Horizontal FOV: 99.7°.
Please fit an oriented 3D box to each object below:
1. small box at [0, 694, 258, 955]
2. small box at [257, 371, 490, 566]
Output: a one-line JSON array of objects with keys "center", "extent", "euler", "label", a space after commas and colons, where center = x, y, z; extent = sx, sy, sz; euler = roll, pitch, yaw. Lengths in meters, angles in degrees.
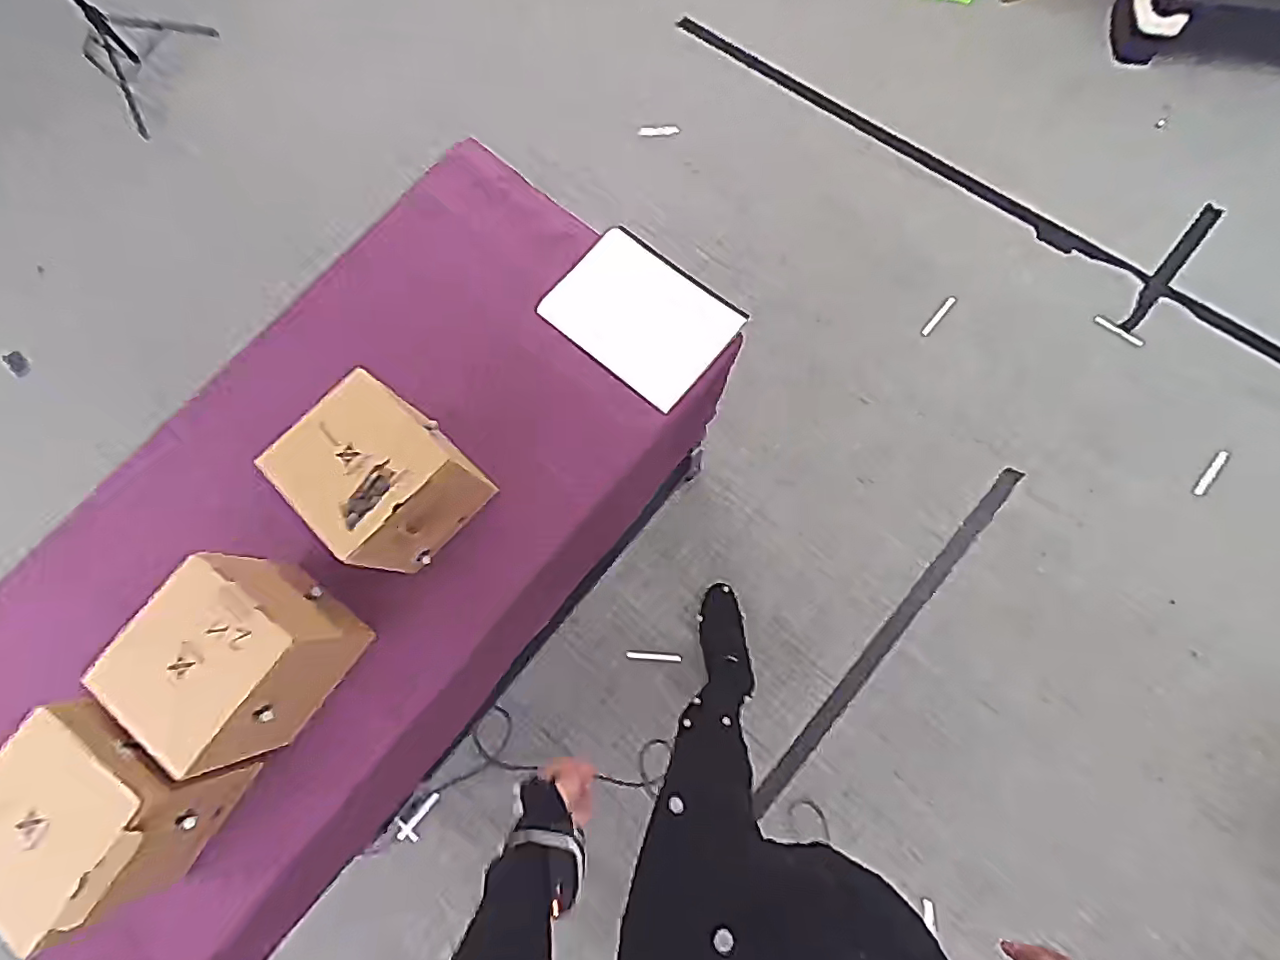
[{"center": [-0.608, 0.373, 0.631], "extent": [0.179, 0.176, 0.168], "euler": [31, 79, 11], "label": "small box"}, {"center": [-0.327, -0.002, 0.702], "extent": [0.179, 0.176, 0.168], "euler": [42, 82, 13], "label": "small box"}]
